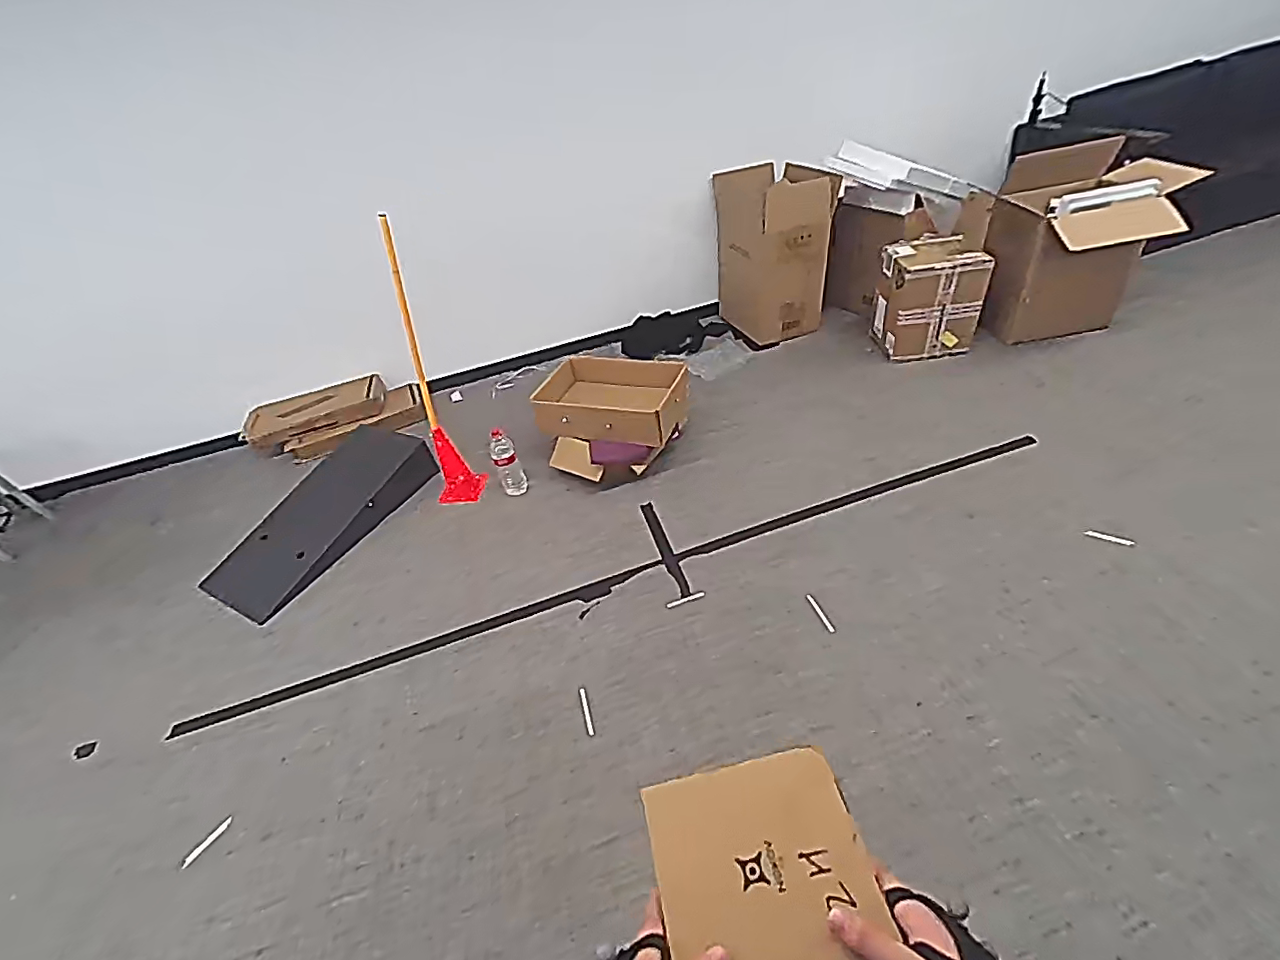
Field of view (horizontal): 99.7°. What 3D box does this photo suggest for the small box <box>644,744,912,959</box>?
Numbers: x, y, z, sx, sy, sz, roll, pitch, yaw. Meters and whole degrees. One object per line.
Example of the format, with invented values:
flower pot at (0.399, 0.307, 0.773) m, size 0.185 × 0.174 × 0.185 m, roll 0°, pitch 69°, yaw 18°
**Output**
small box at (0.111, 0.376, 0.500) m, size 0.179 × 0.176 × 0.168 m, roll -12°, pitch 45°, yaw -4°
